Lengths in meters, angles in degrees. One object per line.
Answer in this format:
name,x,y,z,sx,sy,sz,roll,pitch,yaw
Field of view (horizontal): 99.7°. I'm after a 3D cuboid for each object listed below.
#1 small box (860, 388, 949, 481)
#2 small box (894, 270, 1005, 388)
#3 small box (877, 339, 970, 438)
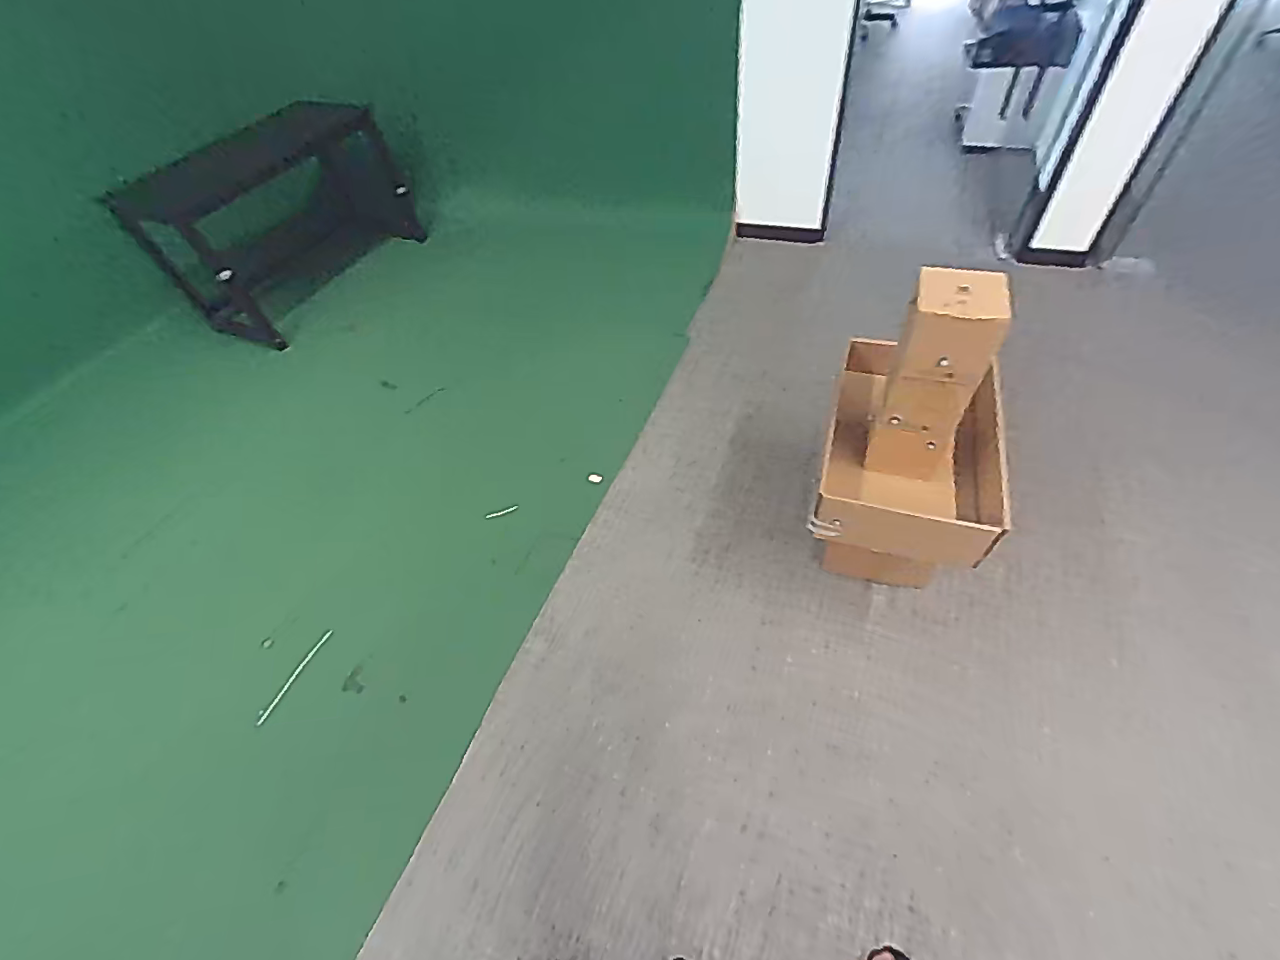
small box,0.691,-0.117,1.422,0.179,0.176,0.168,12,53,16
small box,0.661,-0.327,1.170,0.168,0.176,0.179,12,53,17
small box,0.679,-0.224,1.298,0.168,0.176,0.179,14,53,17
